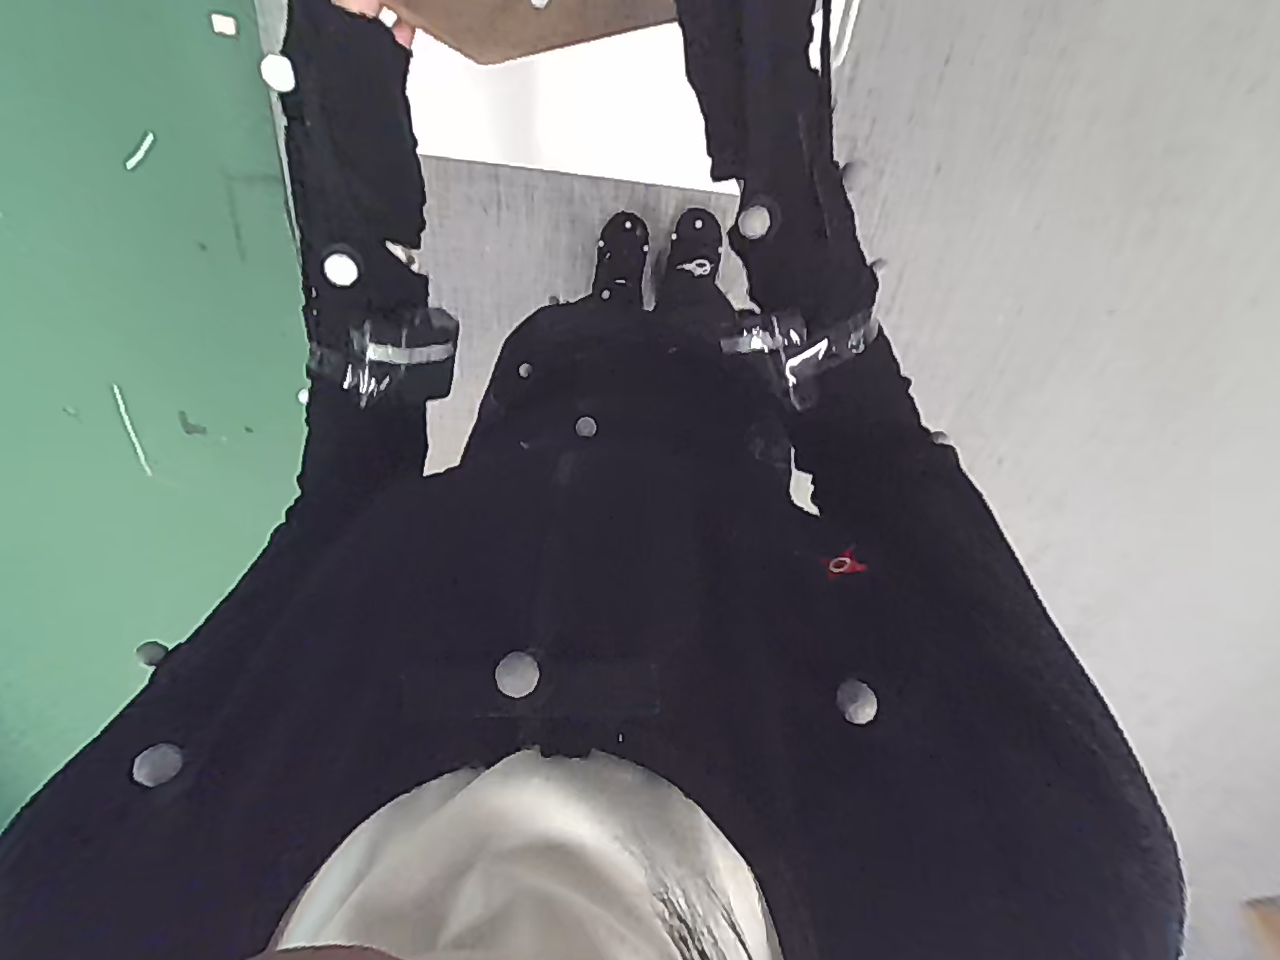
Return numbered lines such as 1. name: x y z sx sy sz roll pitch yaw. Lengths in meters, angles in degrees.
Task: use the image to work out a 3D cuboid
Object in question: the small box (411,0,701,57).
1. small box: -0.053 -0.336 0.258 0.179 0.176 0.168 -5 115 11
